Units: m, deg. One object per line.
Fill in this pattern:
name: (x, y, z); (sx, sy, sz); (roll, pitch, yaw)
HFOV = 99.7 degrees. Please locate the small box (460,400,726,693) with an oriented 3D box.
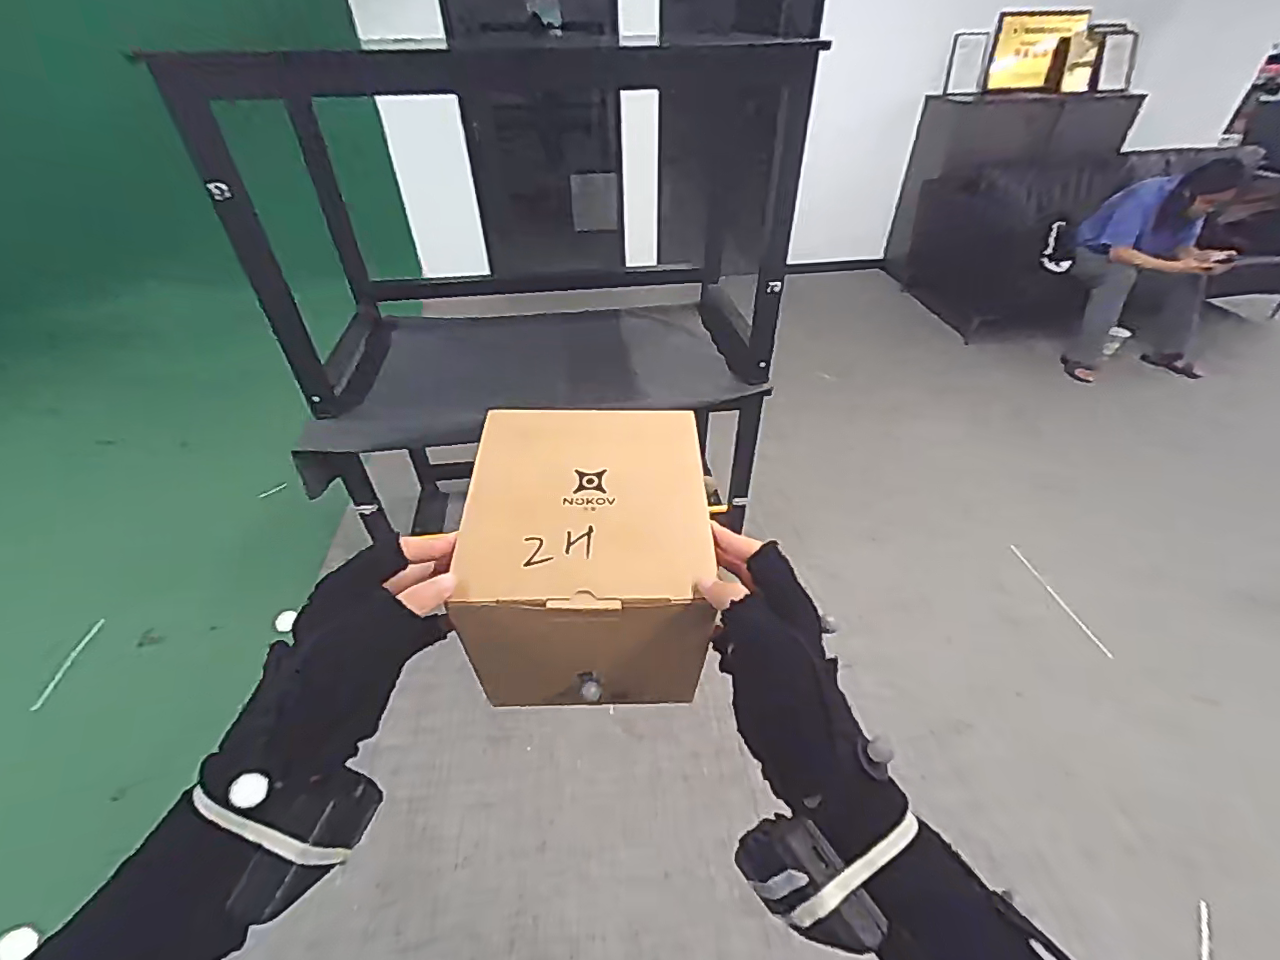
small box: (-0.032, 0.054, 0.442); (0.168, 0.176, 0.179); (0, 46, -2)
